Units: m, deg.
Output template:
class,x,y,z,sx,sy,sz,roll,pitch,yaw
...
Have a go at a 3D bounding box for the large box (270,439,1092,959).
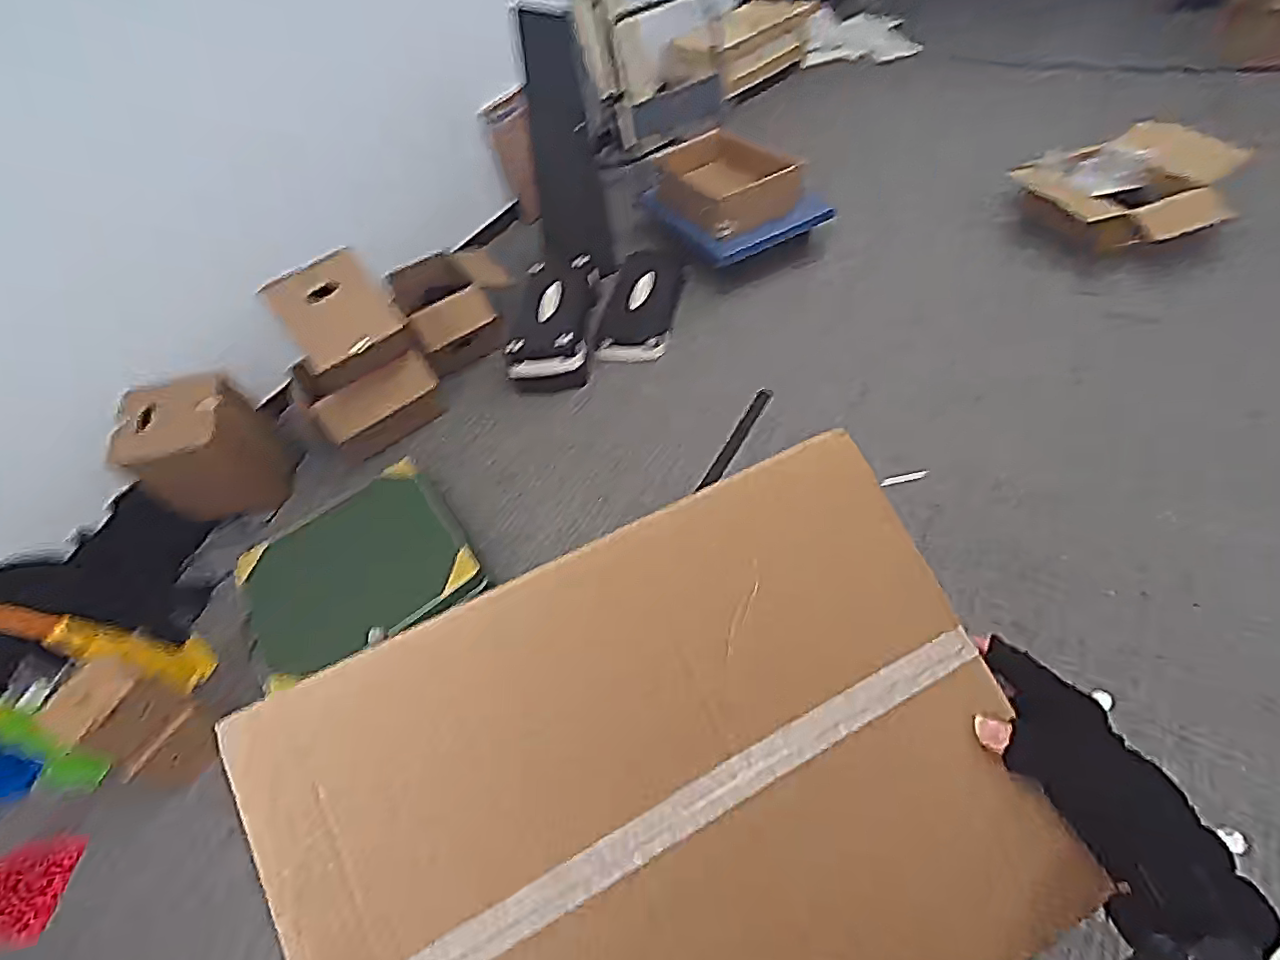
class,x,y,z,sx,sy,sz,roll,pitch,yaw
large box,0.016,0.222,0.457,0.408,0.320,0.320,-24,80,-10
